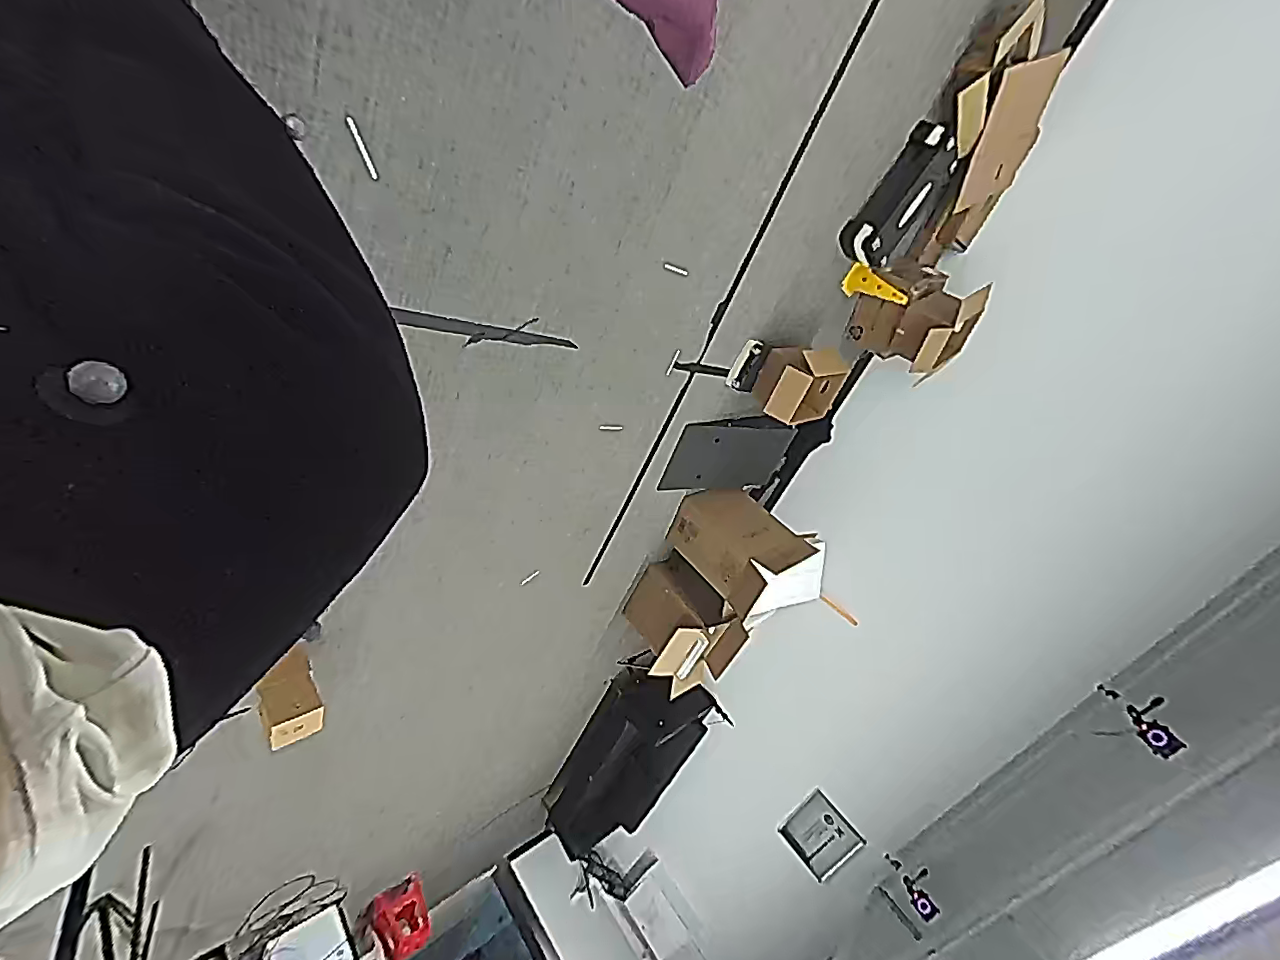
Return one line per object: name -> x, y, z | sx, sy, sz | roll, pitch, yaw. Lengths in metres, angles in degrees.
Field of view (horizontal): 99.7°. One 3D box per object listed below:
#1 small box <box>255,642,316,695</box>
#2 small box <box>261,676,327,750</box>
small box -> -1.428, 0.788, 2.174 | 0.168, 0.176, 0.179 | -11, 134, -45
small box -> -1.335, 0.890, 2.084 | 0.179, 0.176, 0.168 | -12, 136, -45
